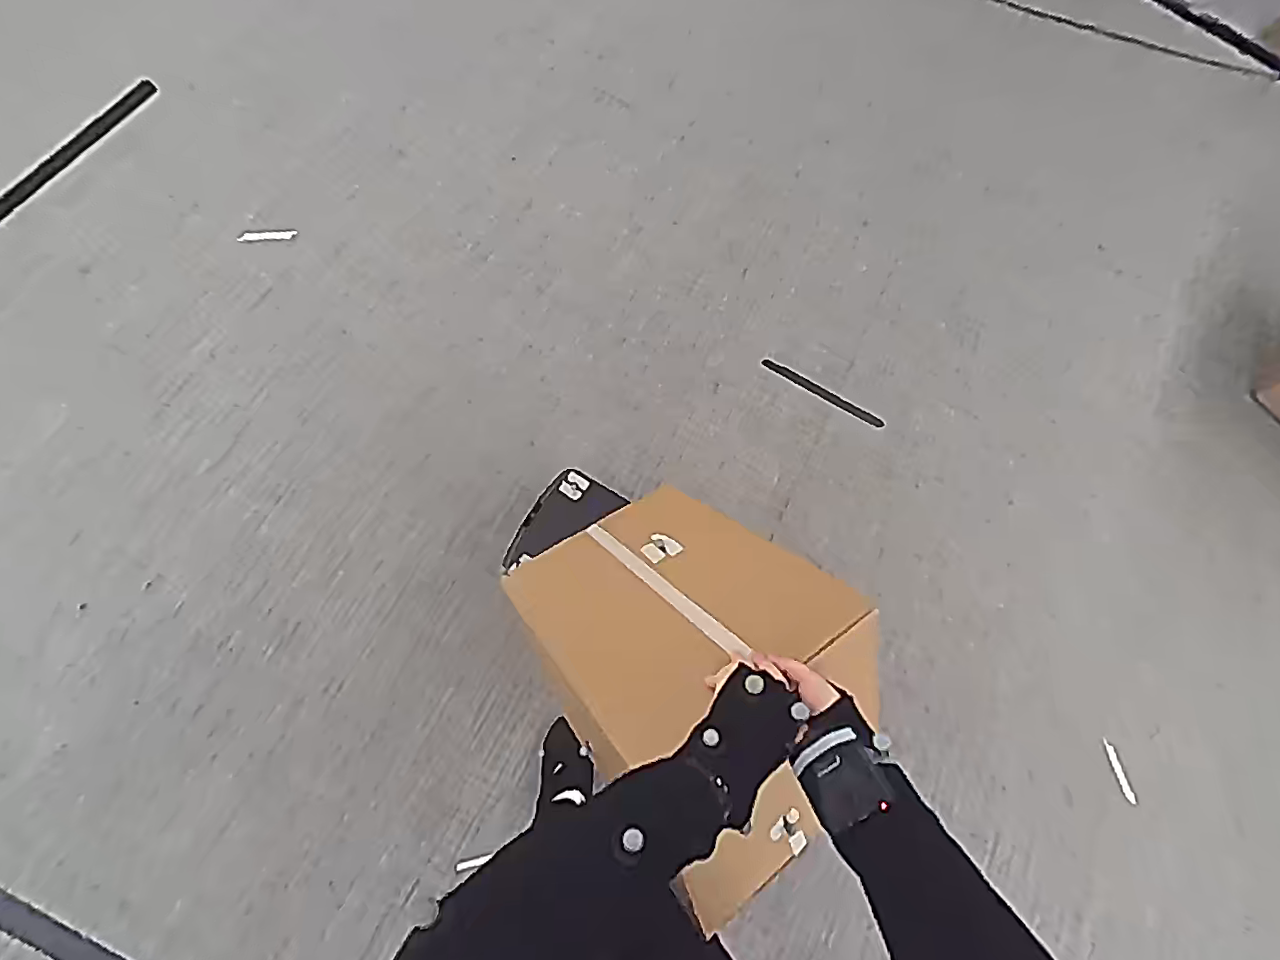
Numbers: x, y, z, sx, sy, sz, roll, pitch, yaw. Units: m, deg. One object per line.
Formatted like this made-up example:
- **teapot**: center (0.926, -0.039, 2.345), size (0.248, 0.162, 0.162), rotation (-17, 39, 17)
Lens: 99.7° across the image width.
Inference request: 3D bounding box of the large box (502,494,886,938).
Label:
- **large box**: center (0.068, 0.273, 0.747), size (0.320, 0.408, 0.320), rotation (-28, 121, -23)
